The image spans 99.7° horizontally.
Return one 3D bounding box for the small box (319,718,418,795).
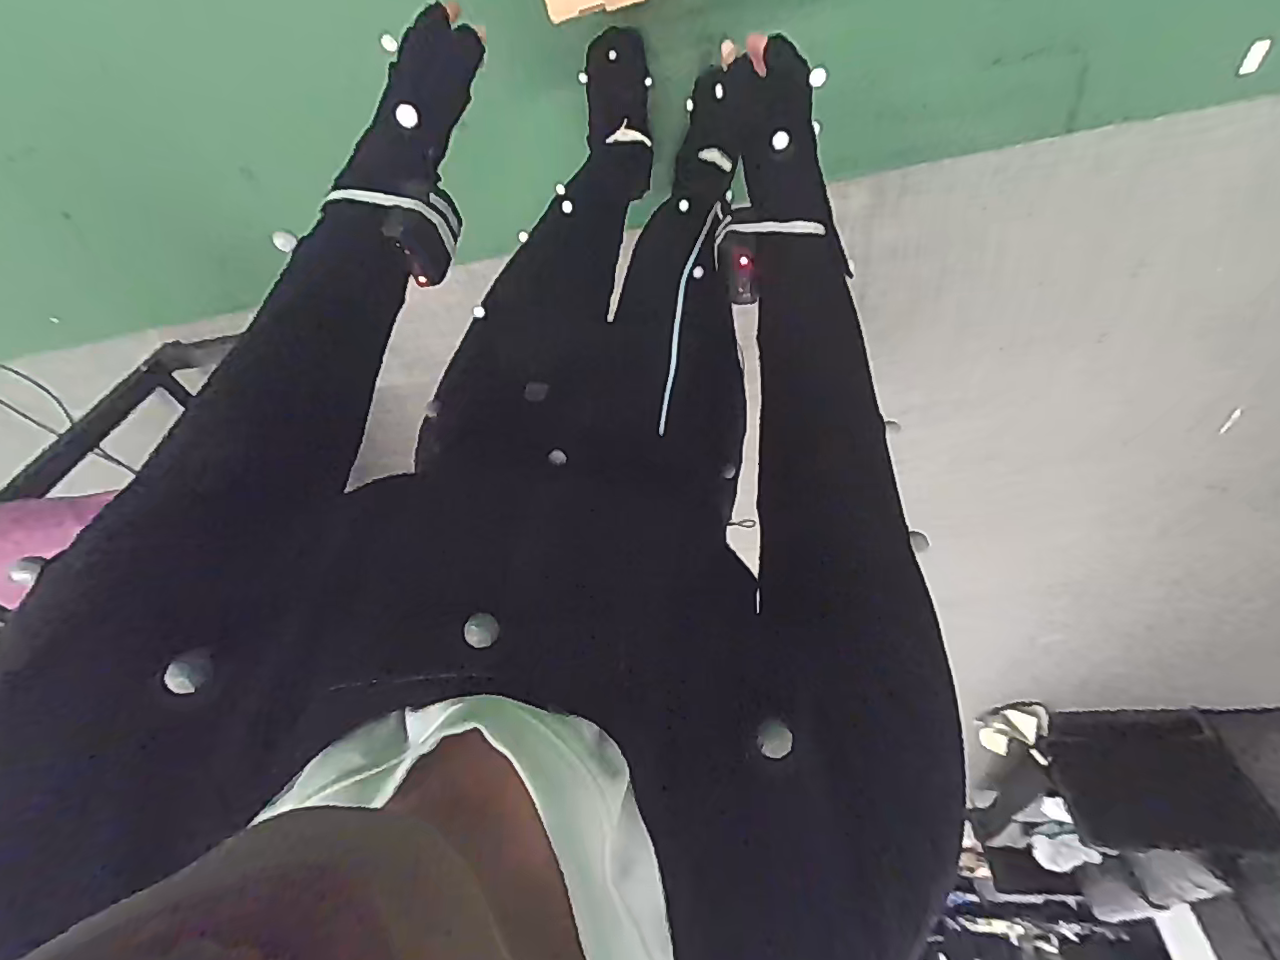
[{"bbox_3d":[-0.799,0.821,1.610,0.179,0.176,0.168,-6,137,11],"label":"small box"}]
